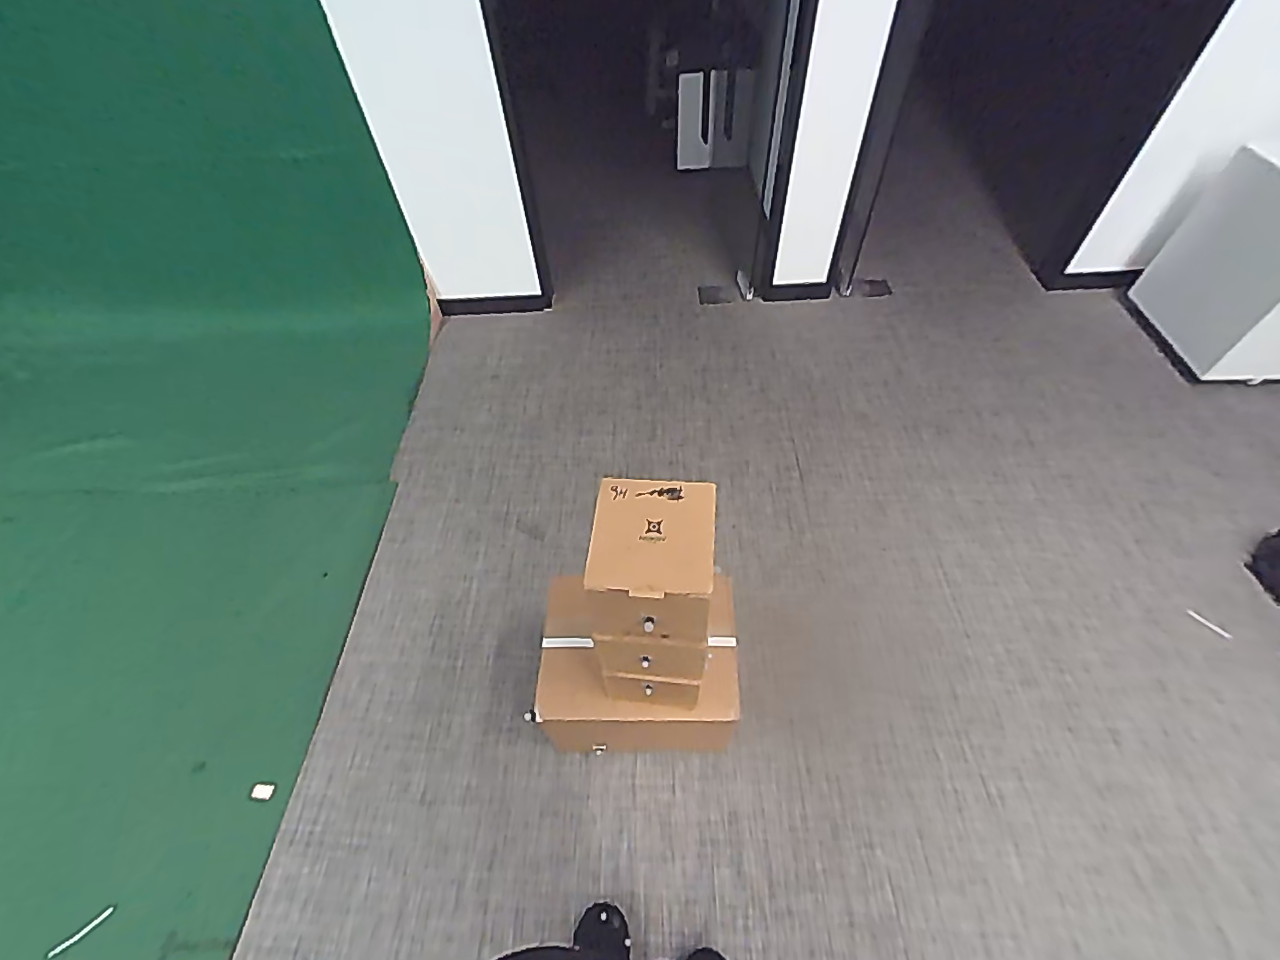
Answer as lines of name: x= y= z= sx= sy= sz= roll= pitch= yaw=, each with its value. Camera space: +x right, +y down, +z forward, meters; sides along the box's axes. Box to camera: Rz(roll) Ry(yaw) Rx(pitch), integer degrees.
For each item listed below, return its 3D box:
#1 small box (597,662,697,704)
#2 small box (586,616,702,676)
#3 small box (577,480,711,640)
small box: x=0.022 y=0.324 z=1.047 sx=0.179 sy=0.176 sz=0.168 roll=5 pitch=55 yaw=5
small box: x=0.018 y=0.225 z=0.917 sx=0.179 sy=0.176 sz=0.168 roll=2 pitch=55 yaw=7
small box: x=0.015 y=0.121 z=0.789 sx=0.168 sy=0.176 sz=0.179 roll=3 pitch=55 yaw=6
